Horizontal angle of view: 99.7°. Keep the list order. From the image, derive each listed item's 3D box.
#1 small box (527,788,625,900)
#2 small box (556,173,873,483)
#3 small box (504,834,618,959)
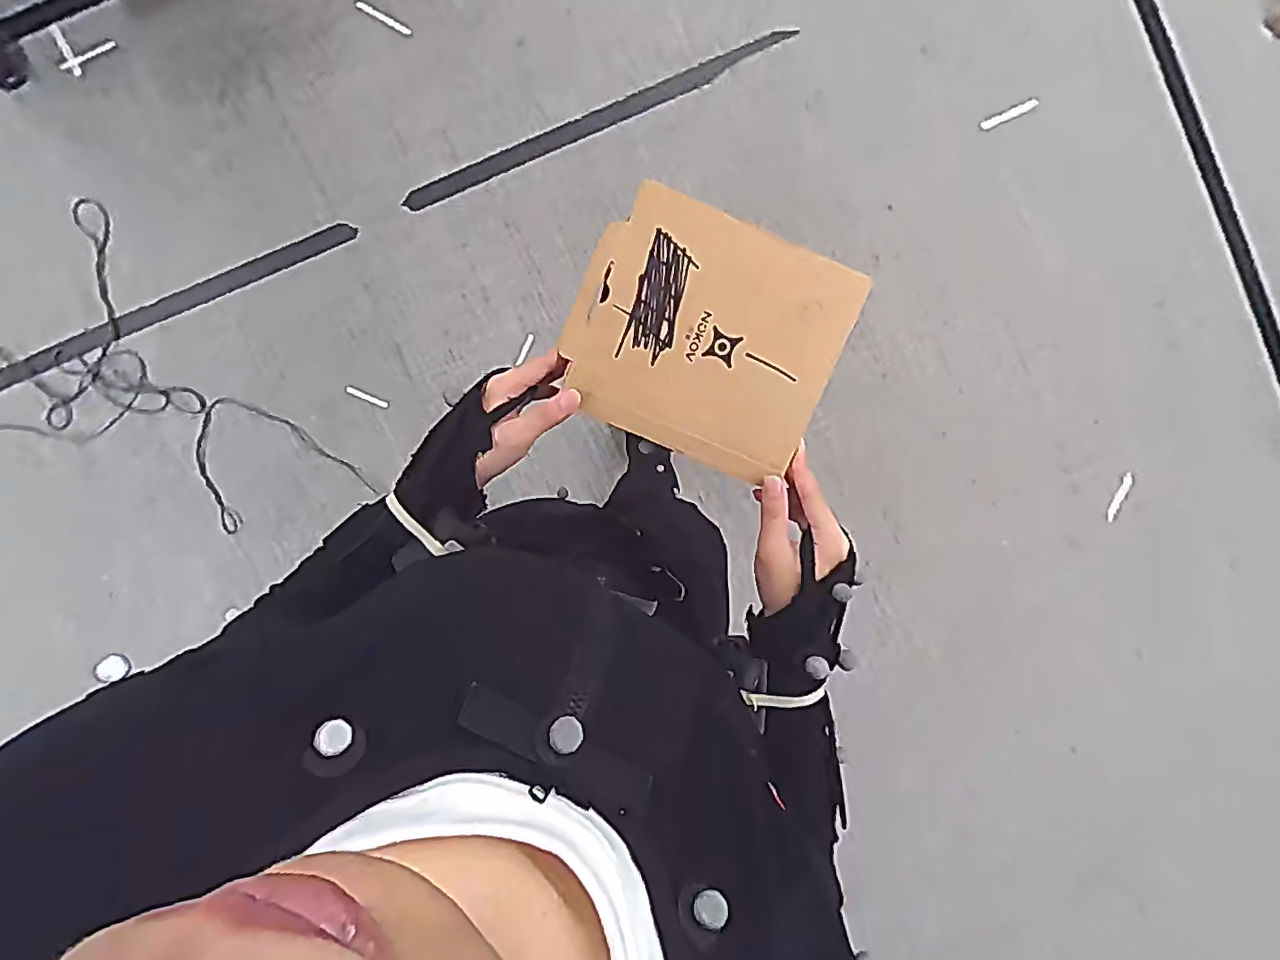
[{"bbox_3d":[-0.141,0.840,1.234,0.168,0.176,0.179,-21,94,-1],"label":"small box"},{"bbox_3d":[0.051,-0.112,0.455,0.179,0.176,0.168,22,98,-2],"label":"small box"},{"bbox_3d":[-0.146,0.853,1.071,0.179,0.176,0.168,-18,93,-2],"label":"small box"}]
